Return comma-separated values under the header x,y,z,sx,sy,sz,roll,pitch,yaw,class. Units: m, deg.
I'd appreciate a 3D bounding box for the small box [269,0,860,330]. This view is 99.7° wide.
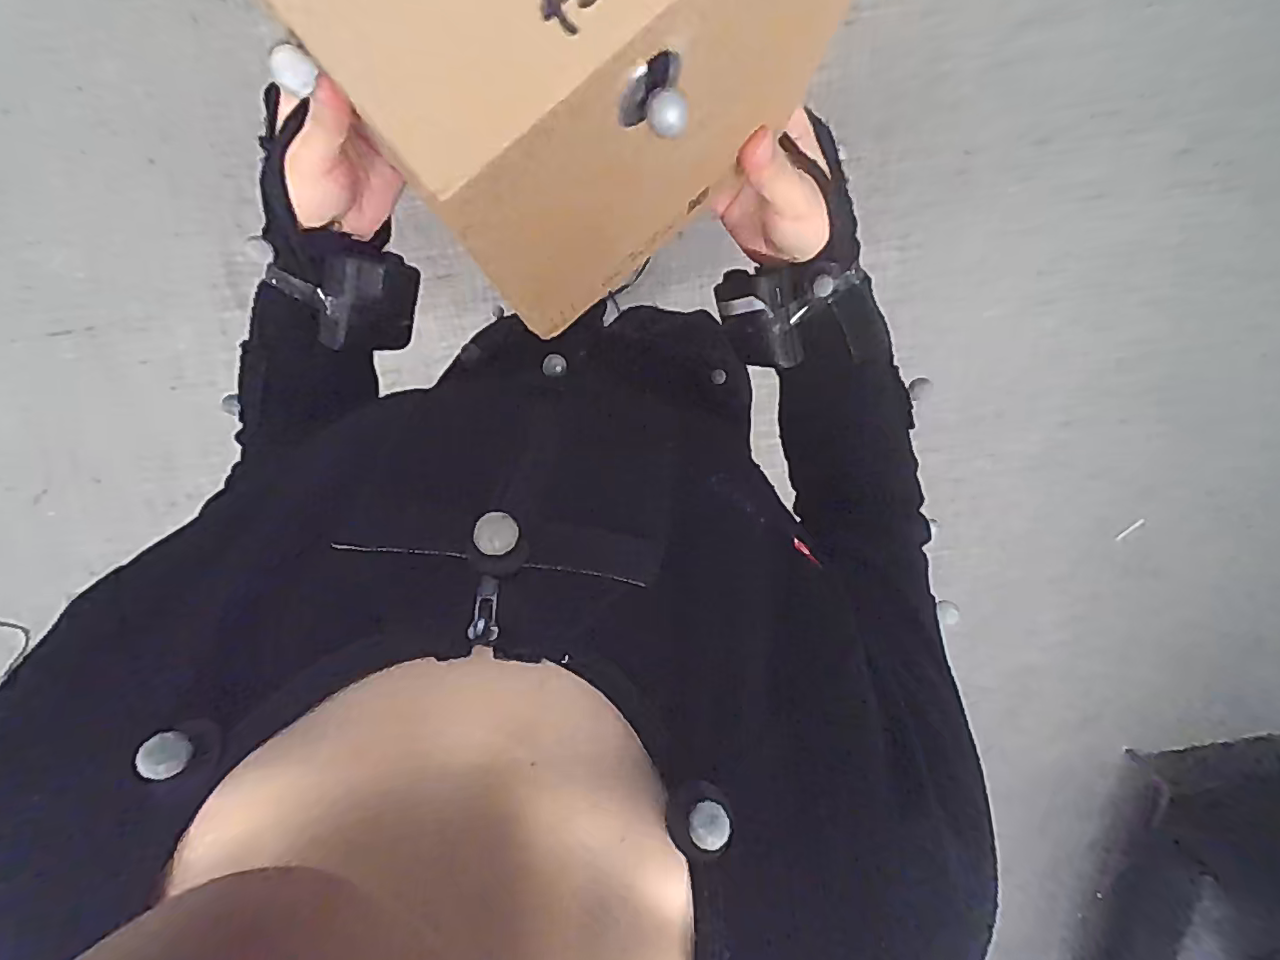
x,y,z,sx,sy,sz,roll,pitch,yaw,class
-0.037,-0.186,0.211,0.168,0.176,0.179,-41,93,2,small box
